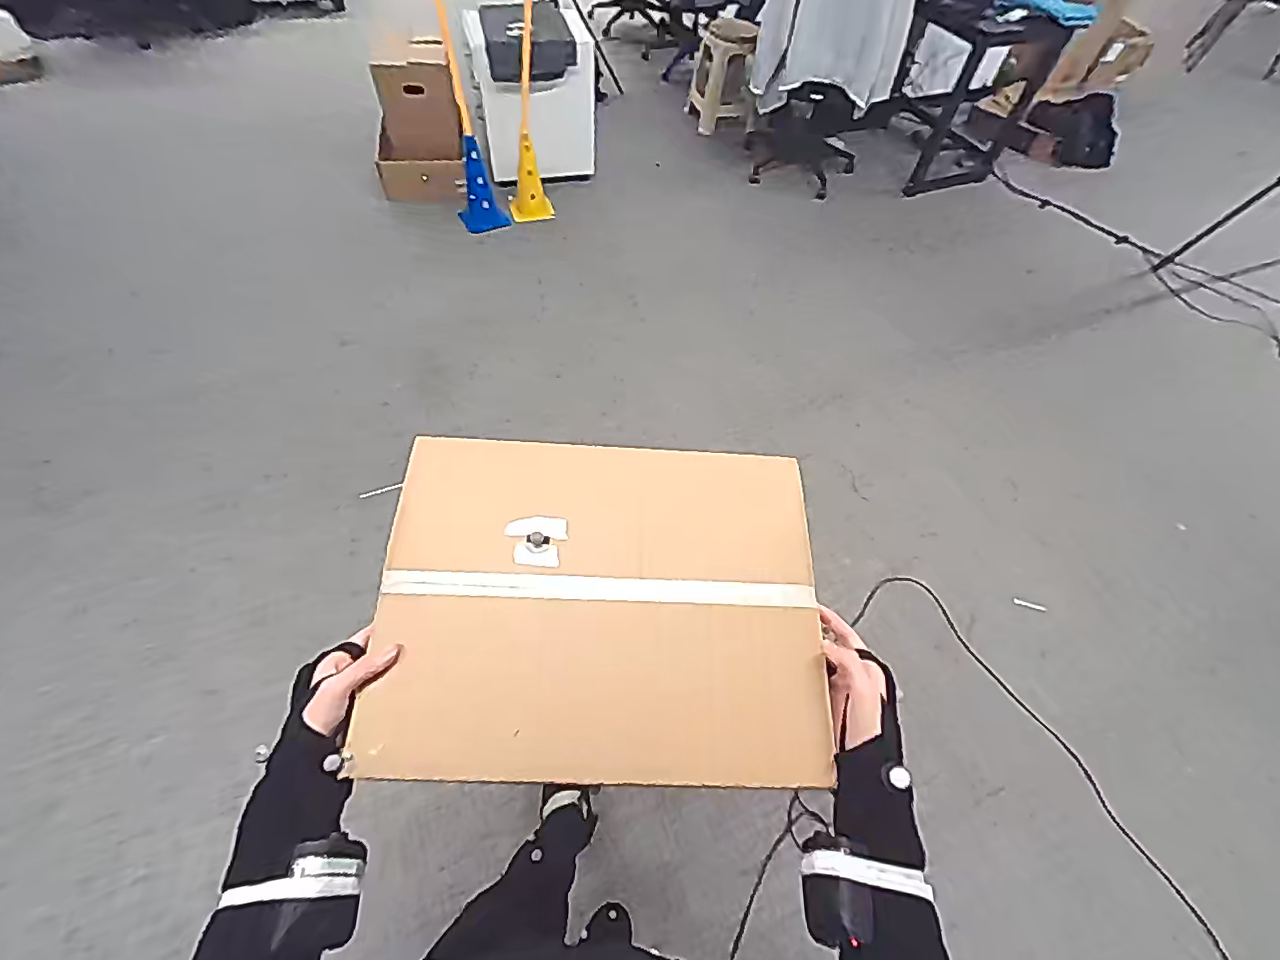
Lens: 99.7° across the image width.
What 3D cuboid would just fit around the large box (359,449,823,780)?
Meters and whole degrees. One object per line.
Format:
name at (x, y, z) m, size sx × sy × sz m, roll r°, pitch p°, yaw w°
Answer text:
large box at (-0.044, 0.174, 0.657) m, size 0.408 × 0.320 × 0.320 m, roll 3°, pitch 64°, yaw -3°
